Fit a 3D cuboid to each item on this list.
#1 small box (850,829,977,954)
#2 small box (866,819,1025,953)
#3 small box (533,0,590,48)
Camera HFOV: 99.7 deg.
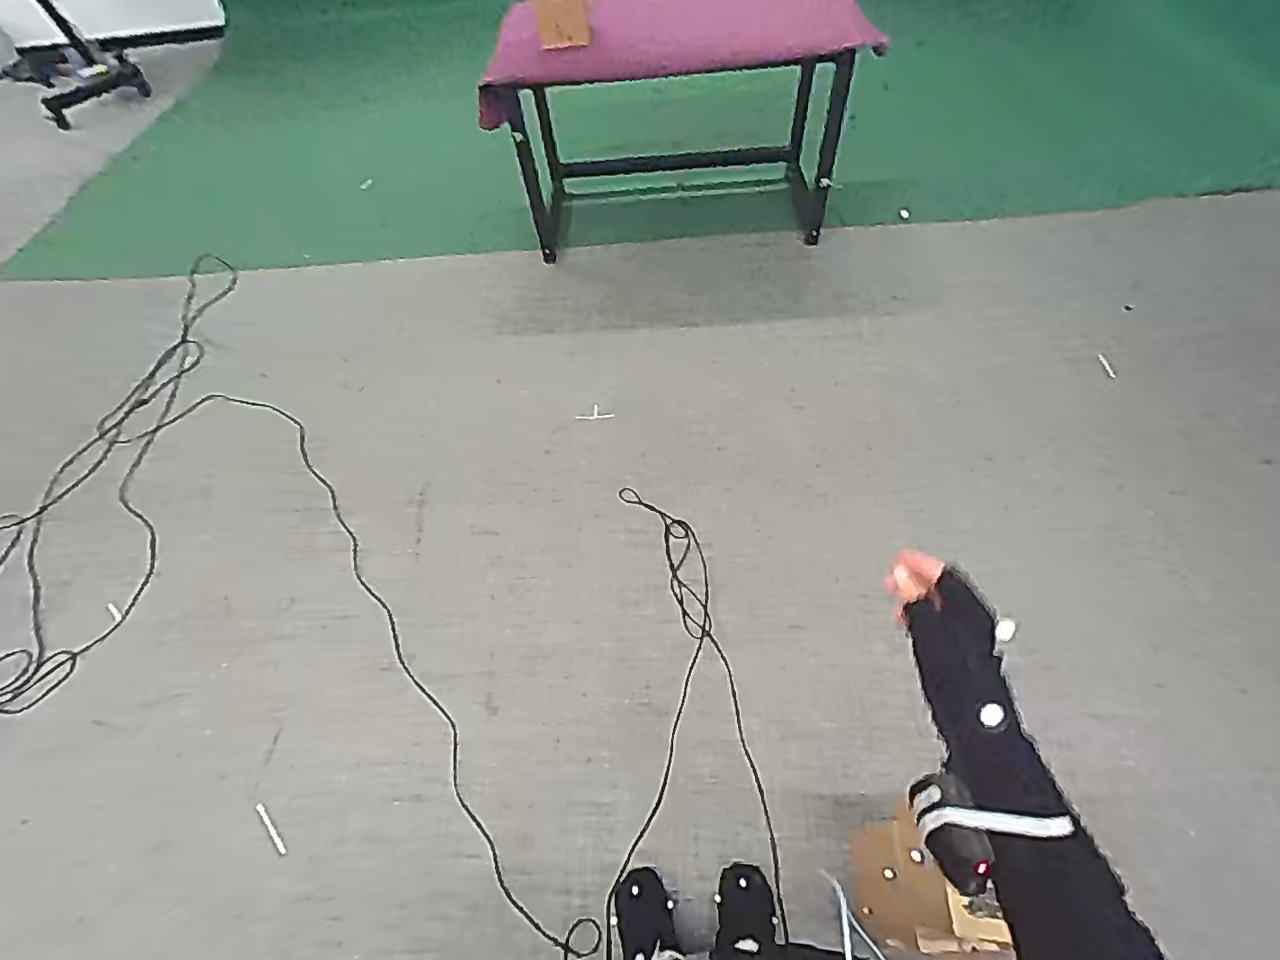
[{"bbox_3d":[0.531,0.805,1.074,0.168,0.176,0.179,1,57,5],"label":"small box"},{"bbox_3d":[0.516,0.700,0.947,0.168,0.176,0.179,-2,58,3],"label":"small box"},{"bbox_3d":[-0.261,-1.579,1.806,0.168,0.176,0.179,-4,58,2],"label":"small box"}]
